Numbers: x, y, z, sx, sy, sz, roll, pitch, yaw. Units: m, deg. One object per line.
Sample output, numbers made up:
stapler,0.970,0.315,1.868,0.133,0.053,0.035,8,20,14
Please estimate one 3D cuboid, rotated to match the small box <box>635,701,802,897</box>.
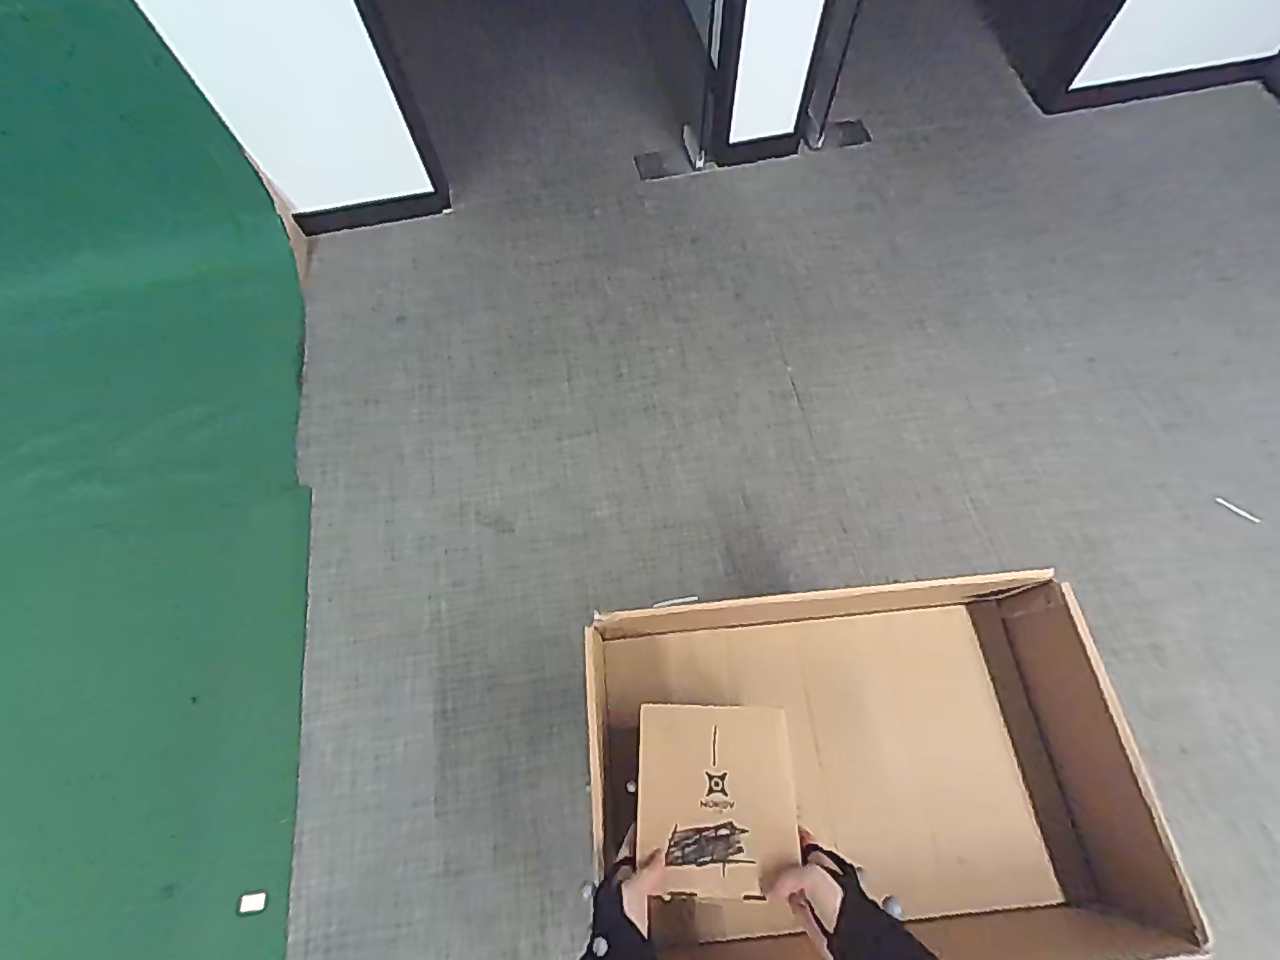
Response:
small box,0.082,0.369,0.636,0.168,0.176,0.179,0,57,2
